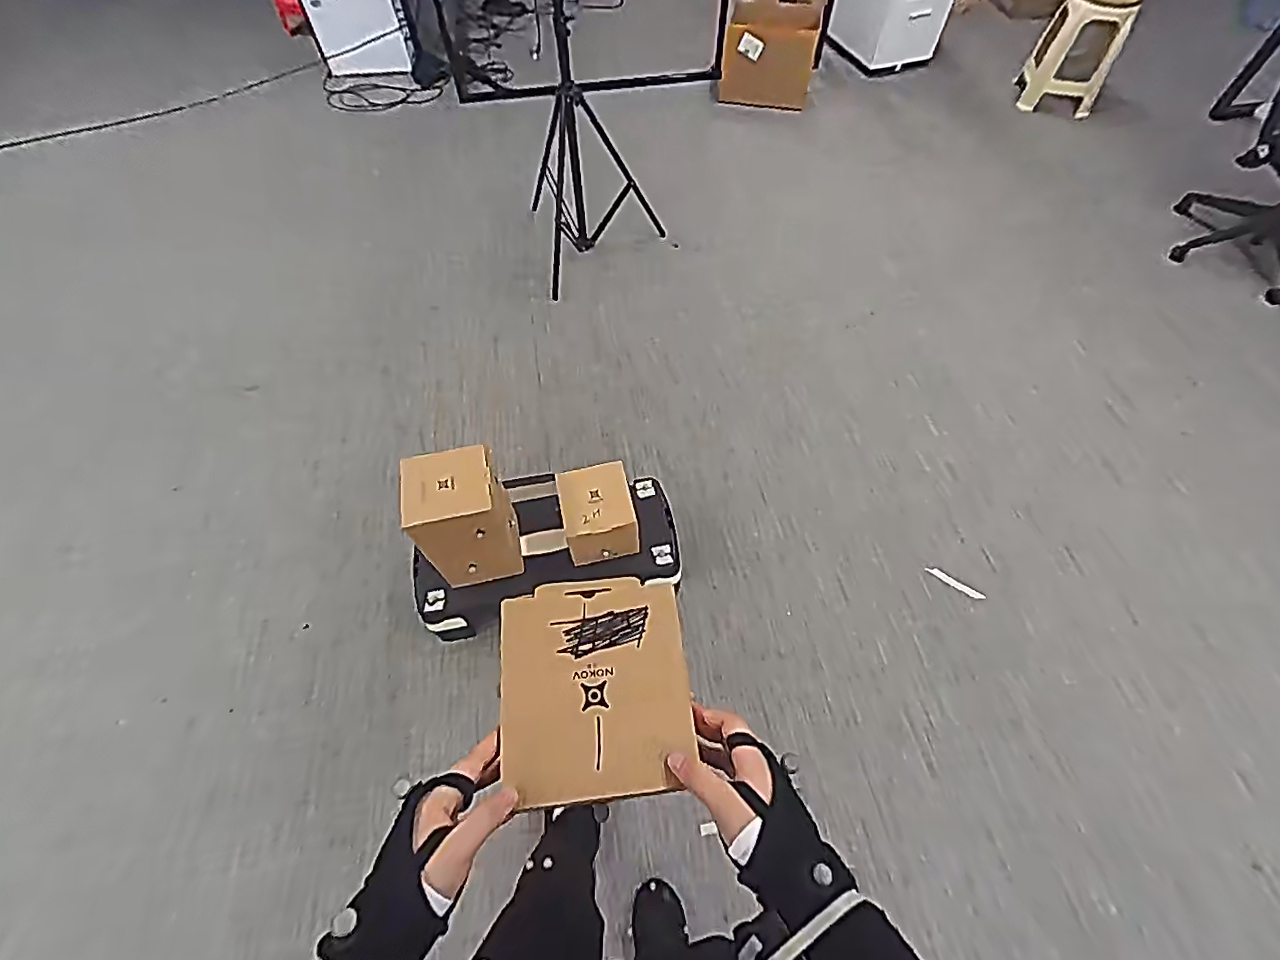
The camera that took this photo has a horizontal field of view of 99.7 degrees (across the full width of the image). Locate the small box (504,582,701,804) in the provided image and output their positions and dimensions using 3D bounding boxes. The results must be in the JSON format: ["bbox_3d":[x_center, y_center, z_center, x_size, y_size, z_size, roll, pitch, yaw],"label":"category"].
[{"bbox_3d":[-0.041,0.222,0.556,0.168,0.176,0.179,-5,59,-5],"label":"small box"}]

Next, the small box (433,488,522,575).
[{"bbox_3d":[-0.385,0.145,1.298,0.179,0.176,0.168,-12,60,-6],"label":"small box"}]

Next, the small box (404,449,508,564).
[{"bbox_3d":[-0.386,0.061,1.157,0.179,0.176,0.168,-13,59,-7],"label":"small box"}]

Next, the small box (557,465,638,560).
[{"bbox_3d":[-0.101,0.090,1.327,0.168,0.176,0.179,-12,59,-5],"label":"small box"}]
